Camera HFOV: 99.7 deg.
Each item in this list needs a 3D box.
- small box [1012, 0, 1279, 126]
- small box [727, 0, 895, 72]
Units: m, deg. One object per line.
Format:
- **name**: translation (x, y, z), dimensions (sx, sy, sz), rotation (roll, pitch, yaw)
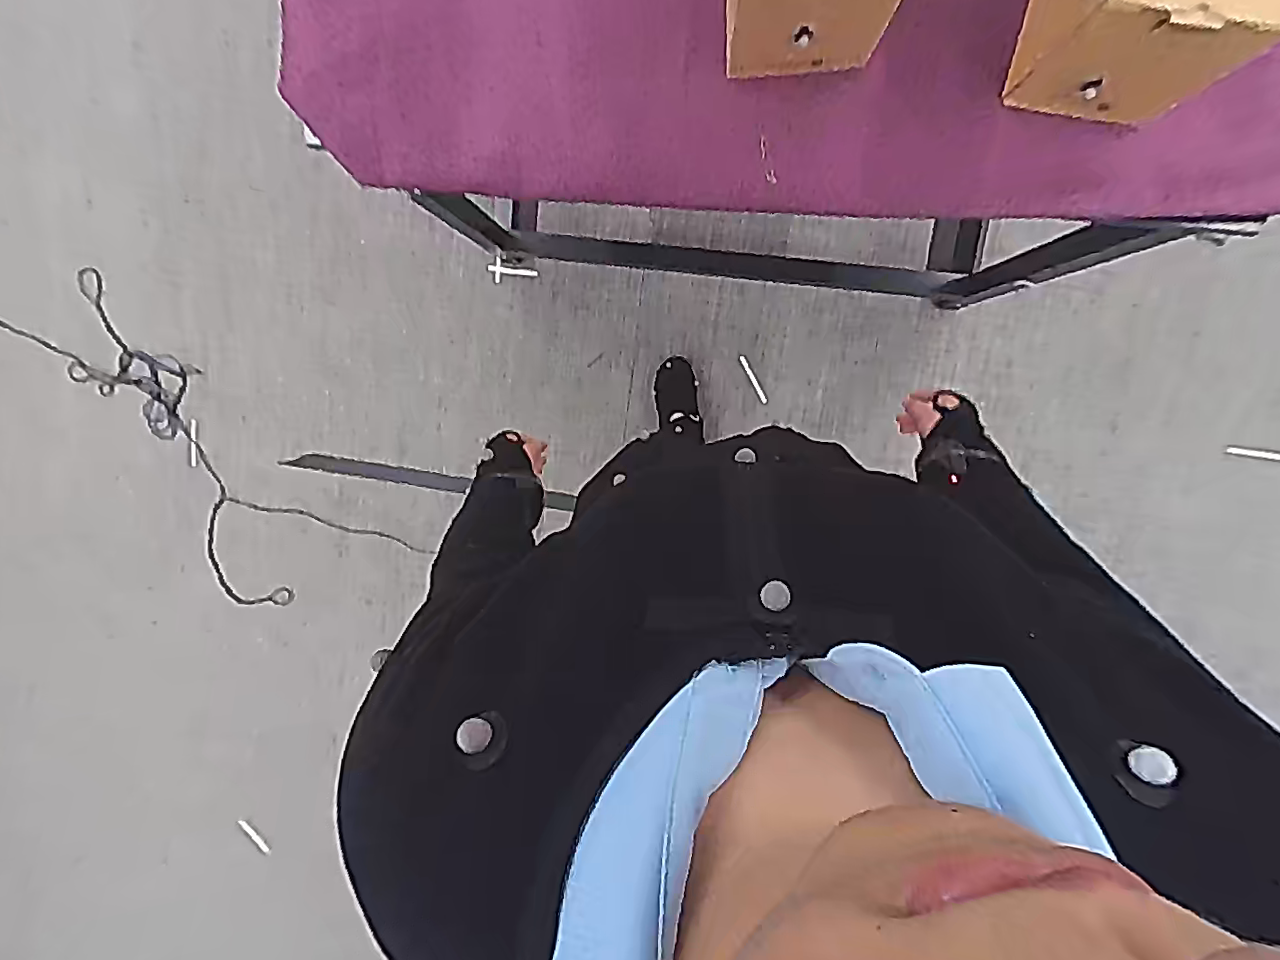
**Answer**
- **small box**: translation (0.521, -0.503, 0.546), dimensions (0.168, 0.176, 0.179), rotation (12, 99, 3)
- **small box**: translation (0.181, -0.564, 0.566), dimensions (0.168, 0.176, 0.179), rotation (-1, 99, 5)
